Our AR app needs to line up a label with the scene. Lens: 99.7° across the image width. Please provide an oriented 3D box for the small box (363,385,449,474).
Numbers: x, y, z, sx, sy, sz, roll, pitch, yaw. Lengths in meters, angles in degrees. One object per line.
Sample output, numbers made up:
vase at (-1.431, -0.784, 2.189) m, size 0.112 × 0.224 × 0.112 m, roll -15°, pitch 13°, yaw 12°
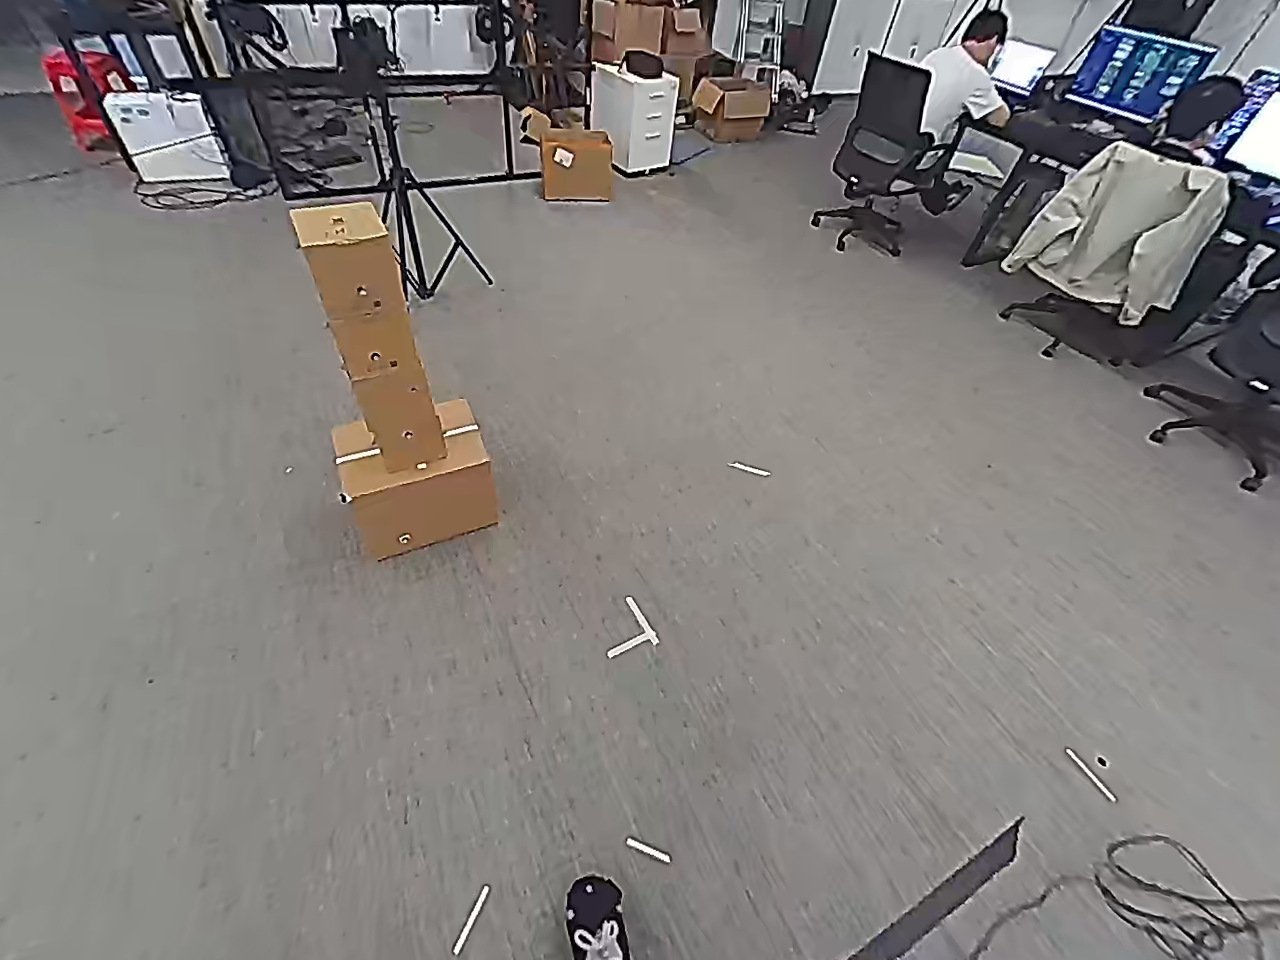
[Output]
small box at (-0.670, -0.142, 1.557) m, size 0.179 × 0.176 × 0.168 m, roll -19°, pitch 54°, yaw -23°

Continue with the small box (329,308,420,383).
small box at (-0.652, -0.363, 1.317) m, size 0.168 × 0.176 × 0.179 m, roll -19°, pitch 54°, yaw -23°

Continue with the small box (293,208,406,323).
small box at (-0.638, -0.475, 1.197) m, size 0.168 × 0.176 × 0.179 m, roll -20°, pitch 55°, yaw -23°
